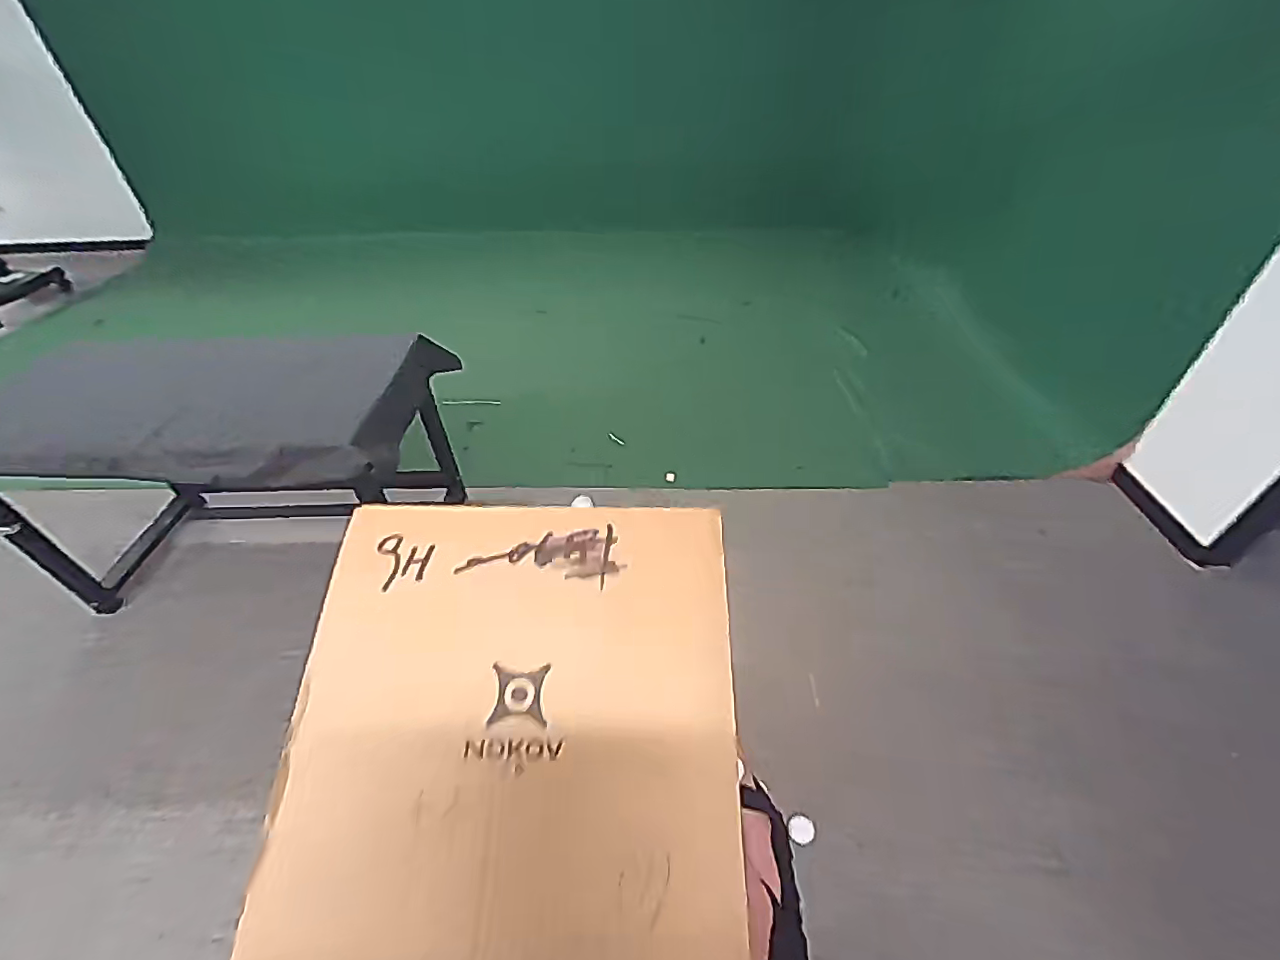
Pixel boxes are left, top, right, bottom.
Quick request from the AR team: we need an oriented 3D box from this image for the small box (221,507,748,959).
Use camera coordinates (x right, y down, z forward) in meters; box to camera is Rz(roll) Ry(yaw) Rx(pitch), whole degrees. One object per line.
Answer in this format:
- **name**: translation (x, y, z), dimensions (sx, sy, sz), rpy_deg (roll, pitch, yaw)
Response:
- **small box**: translation (-0.047, 0.124, 0.265), dimensions (0.168, 0.176, 0.179), rpy_deg (1, 65, -2)
